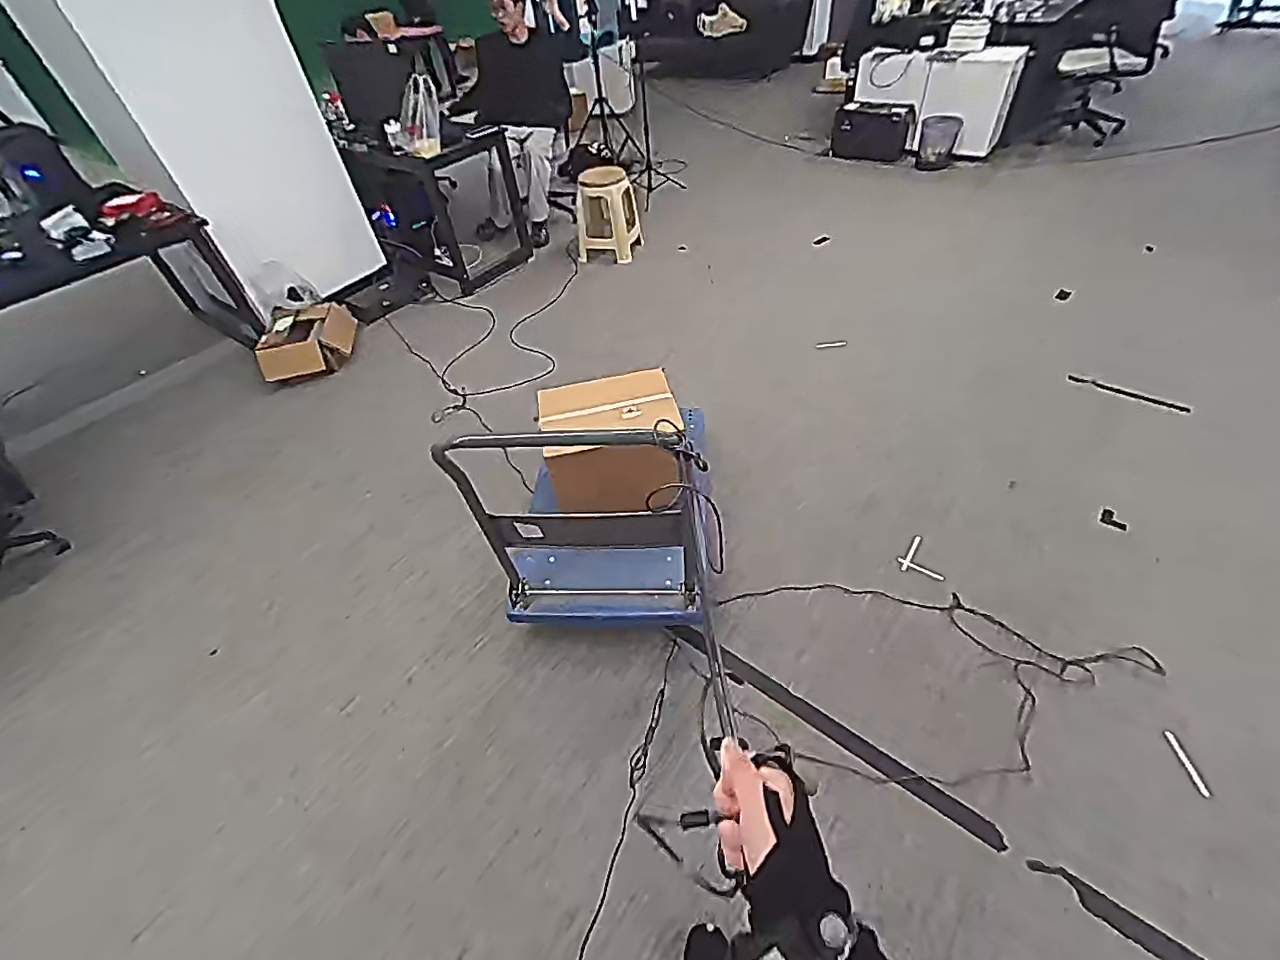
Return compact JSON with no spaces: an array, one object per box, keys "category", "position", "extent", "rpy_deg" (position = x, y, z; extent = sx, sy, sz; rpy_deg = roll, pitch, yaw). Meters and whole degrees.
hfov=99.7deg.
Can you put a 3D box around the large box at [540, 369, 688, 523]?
[{"category":"large box","position":[-0.080,-0.105,1.703],"extent":[0.408,0.320,0.320],"rpy_deg":[-11,48,-3]}]
